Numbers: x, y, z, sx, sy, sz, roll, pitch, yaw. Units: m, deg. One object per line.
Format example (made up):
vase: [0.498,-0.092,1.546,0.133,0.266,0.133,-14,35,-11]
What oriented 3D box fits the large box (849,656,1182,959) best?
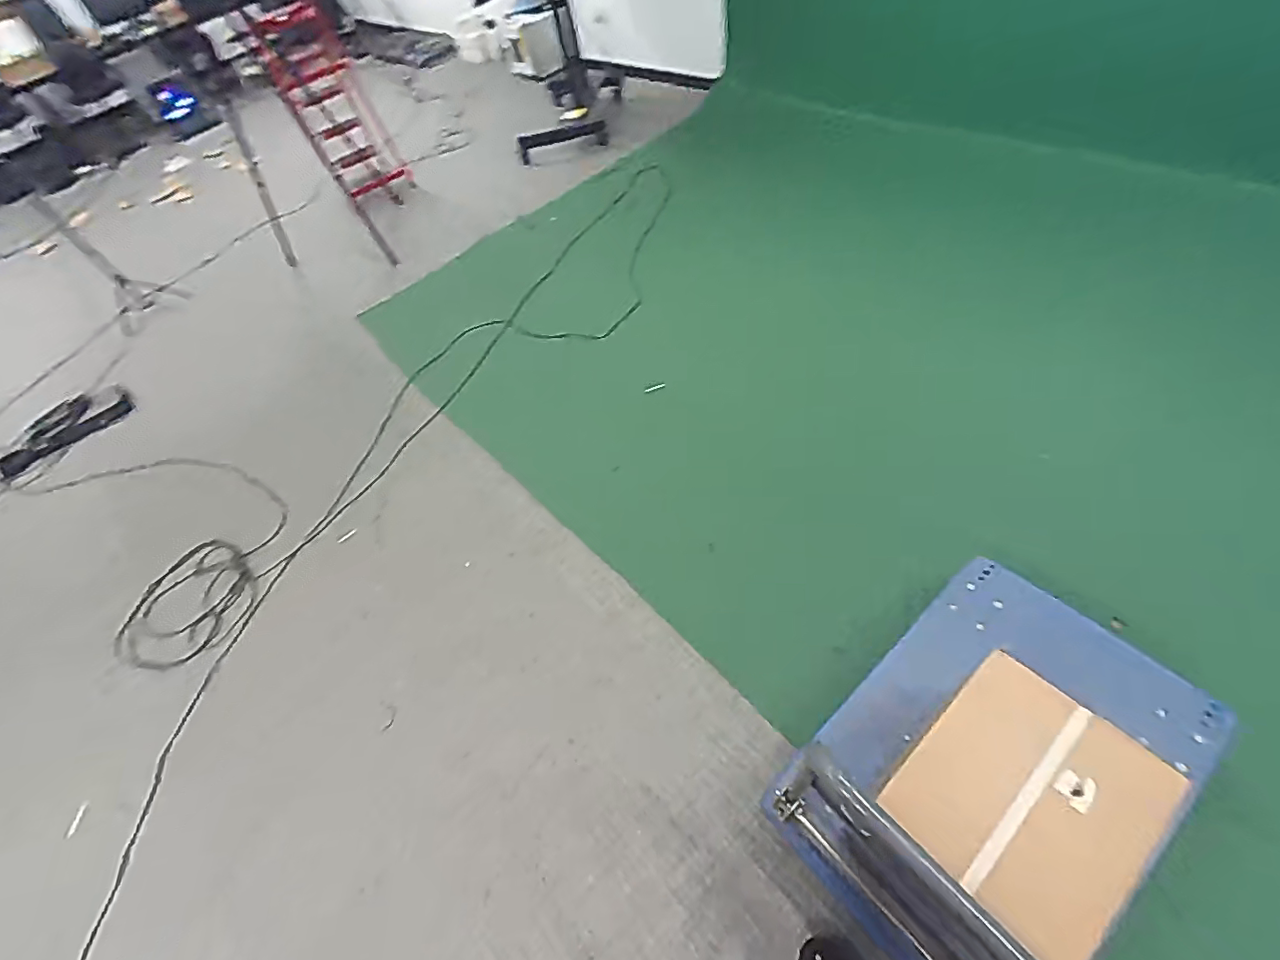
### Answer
large box: [0.651,0.622,1.002,0.408,0.320,0.320,-39,56,-17]
